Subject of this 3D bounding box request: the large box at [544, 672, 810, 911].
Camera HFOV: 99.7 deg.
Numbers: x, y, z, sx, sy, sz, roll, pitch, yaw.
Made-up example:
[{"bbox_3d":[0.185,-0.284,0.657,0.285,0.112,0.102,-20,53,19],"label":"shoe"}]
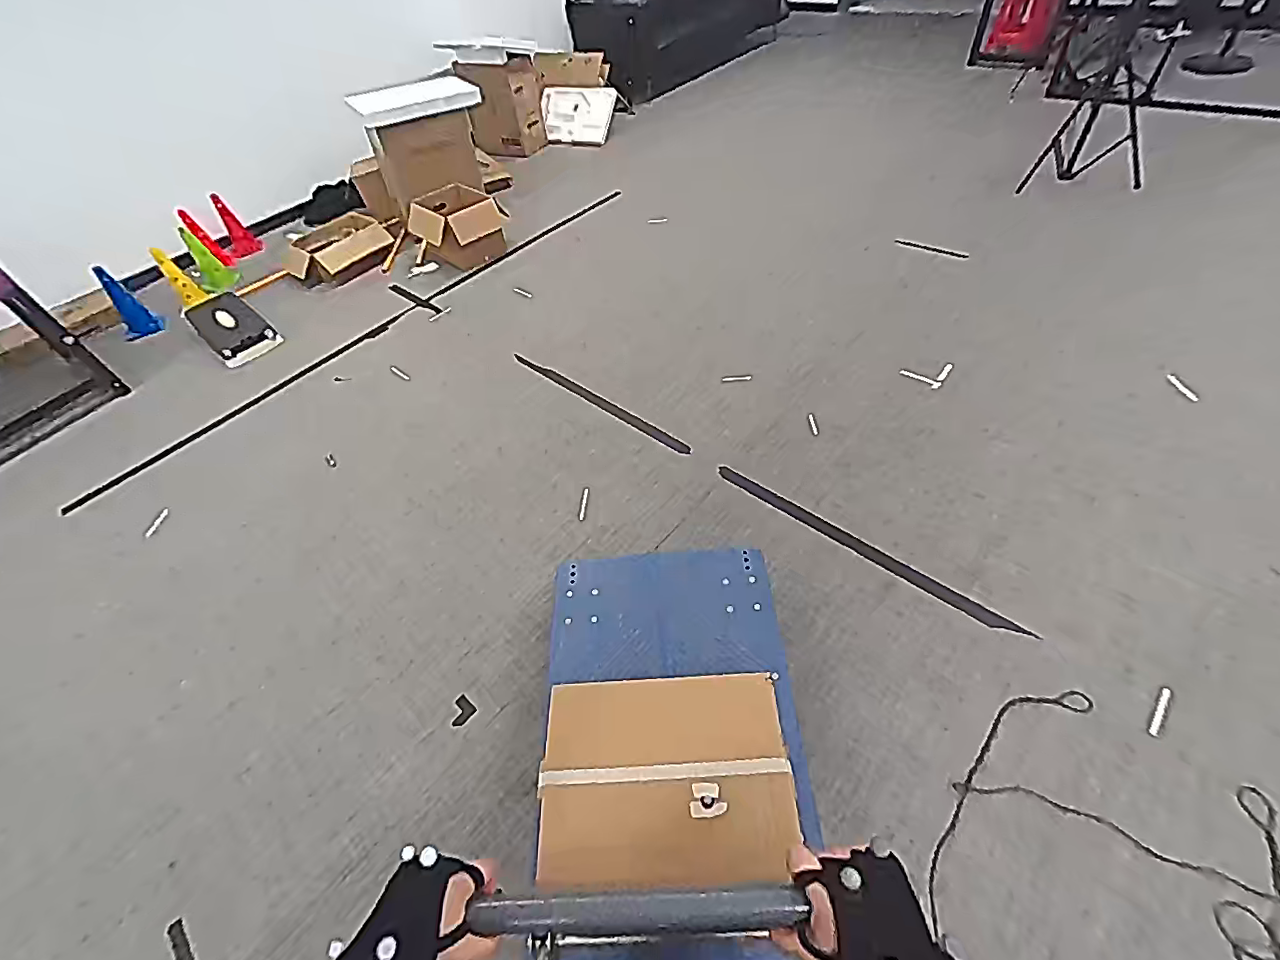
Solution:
[{"bbox_3d":[0.057,0.582,1.003,0.408,0.320,0.320,-5,49,2],"label":"large box"}]
